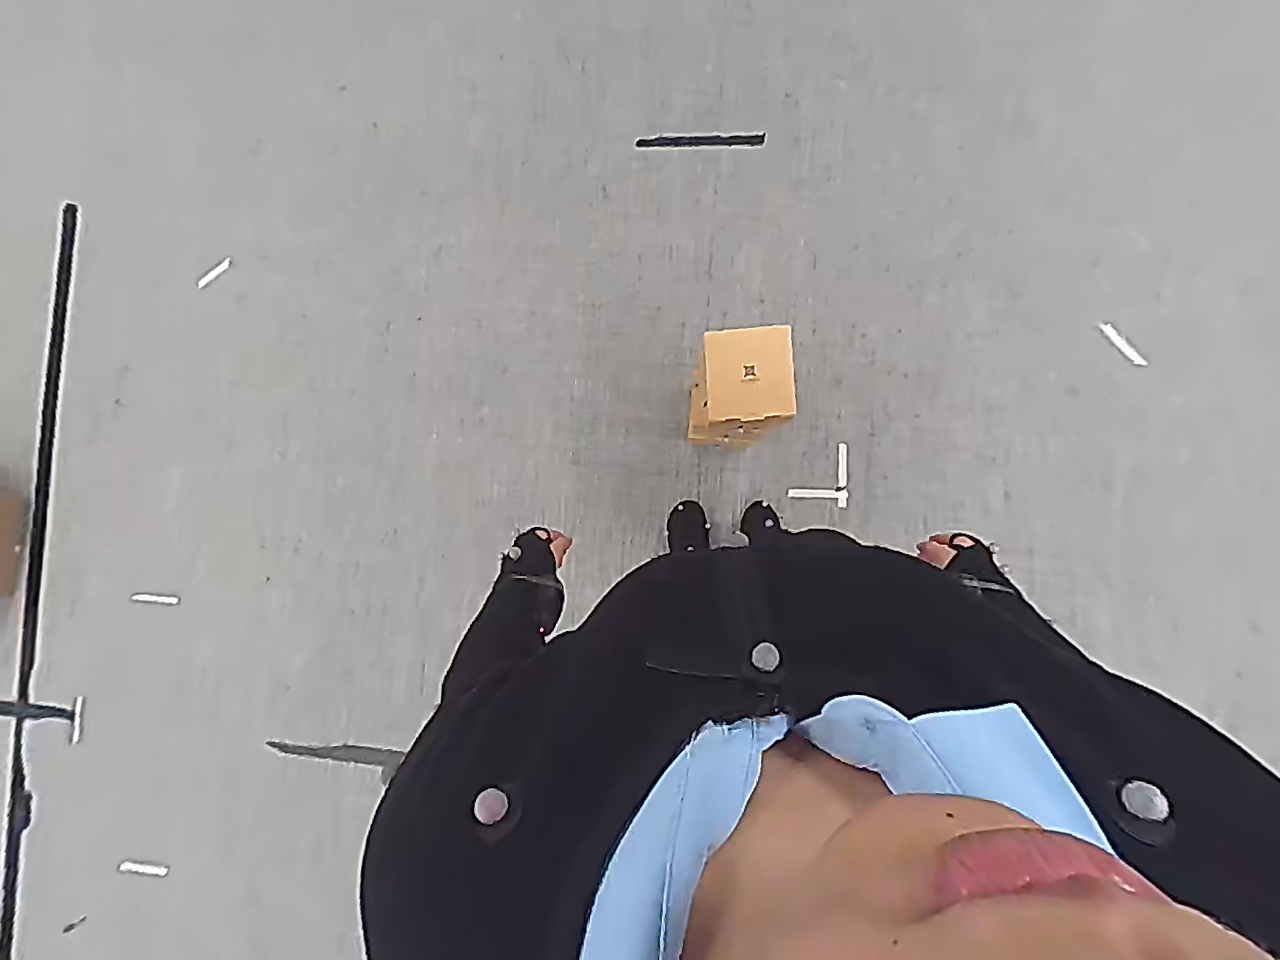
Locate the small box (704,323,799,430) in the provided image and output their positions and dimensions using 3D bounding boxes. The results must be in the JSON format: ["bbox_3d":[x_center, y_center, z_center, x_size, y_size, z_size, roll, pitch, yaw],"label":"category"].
[{"bbox_3d":[0.218,-0.202,1.096,0.168,0.176,0.179,-4,88,5],"label":"small box"}]

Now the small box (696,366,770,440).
[{"bbox_3d":[0.221,-0.197,1.259,0.168,0.176,0.179,8,89,7],"label":"small box"}]
